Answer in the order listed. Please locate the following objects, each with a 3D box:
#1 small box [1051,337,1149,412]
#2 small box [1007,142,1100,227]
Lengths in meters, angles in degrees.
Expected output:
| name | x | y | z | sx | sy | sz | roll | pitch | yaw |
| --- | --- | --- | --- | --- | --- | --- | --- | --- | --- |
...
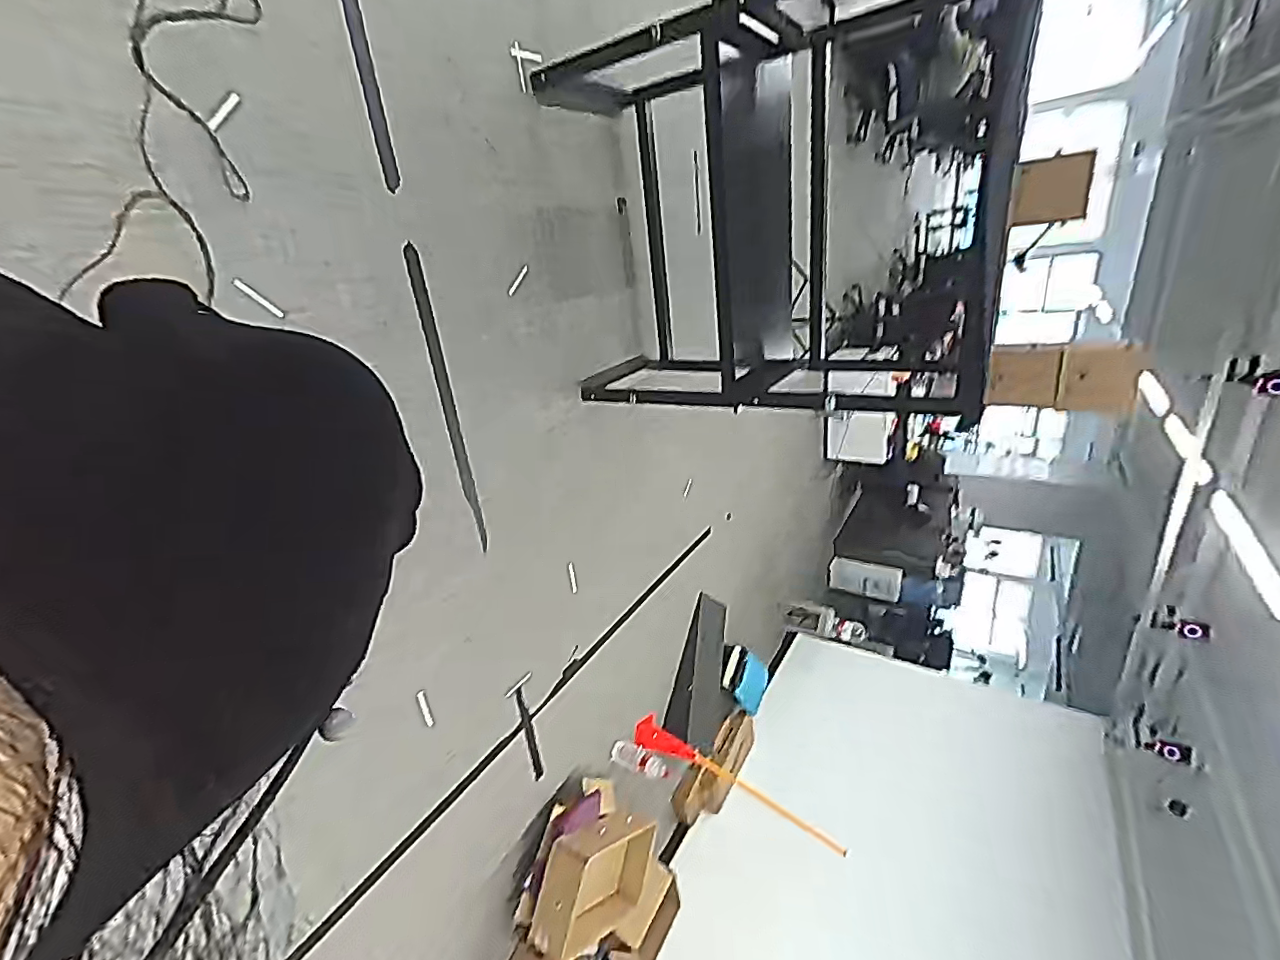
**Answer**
| name | x | y | z | sx | sy | sz | roll | pitch | yaw |
| --- | --- | --- | --- | --- | --- | --- | --- | --- | --- |
| small box | 1.214 | -0.286 | 1.440 | 0.179 | 0.176 | 0.168 | -34 | 124 | -48 |
| small box | 1.058 | -0.756 | 1.398 | 0.179 | 0.176 | 0.168 | -38 | 128 | -49 |
